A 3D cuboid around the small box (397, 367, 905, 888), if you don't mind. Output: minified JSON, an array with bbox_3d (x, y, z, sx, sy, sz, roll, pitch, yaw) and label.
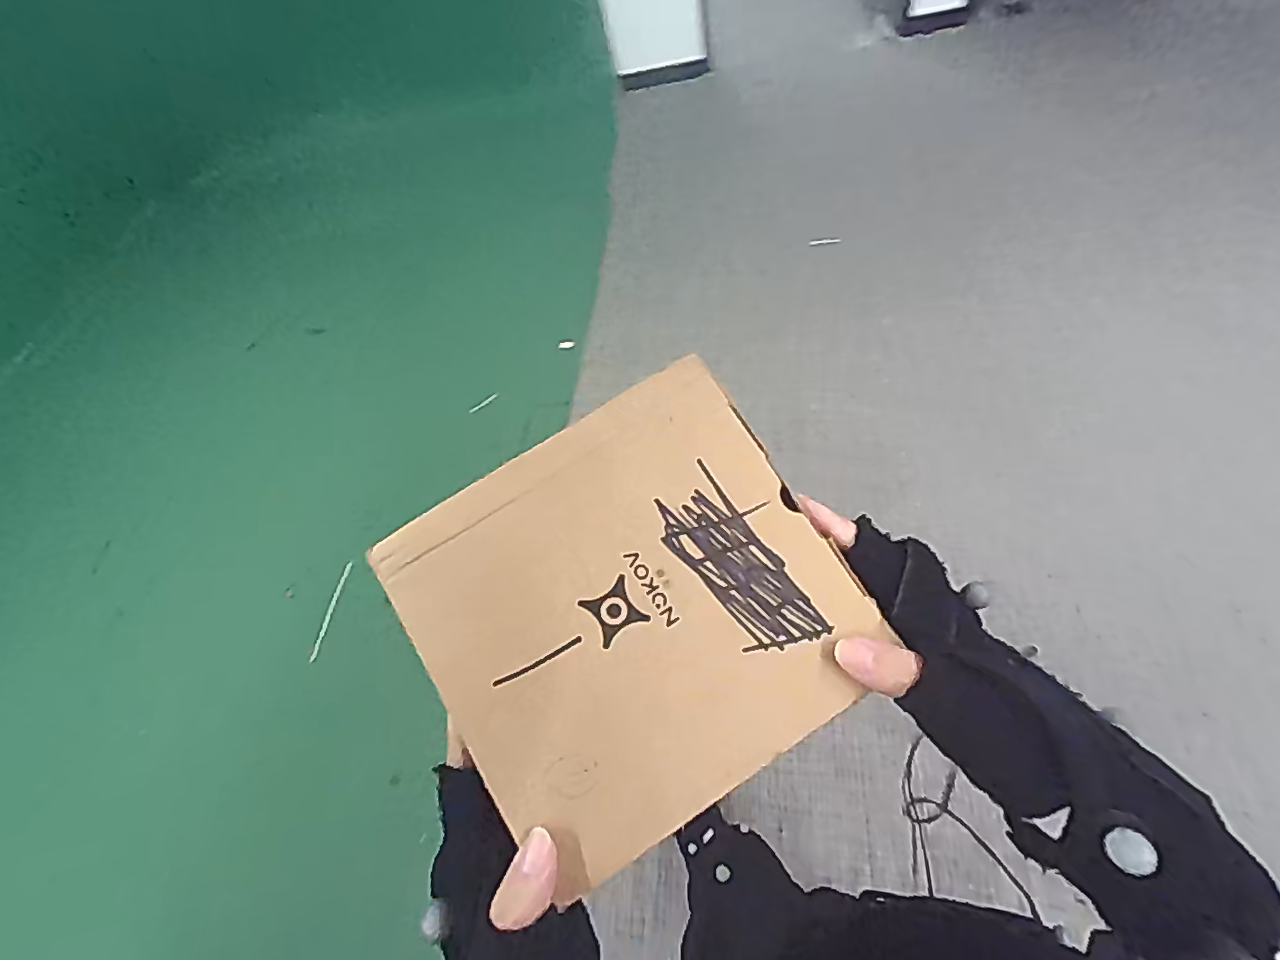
[{"bbox_3d":[0.003,0.070,0.319,0.179,0.176,0.168,-33,79,-8],"label":"small box"}]
